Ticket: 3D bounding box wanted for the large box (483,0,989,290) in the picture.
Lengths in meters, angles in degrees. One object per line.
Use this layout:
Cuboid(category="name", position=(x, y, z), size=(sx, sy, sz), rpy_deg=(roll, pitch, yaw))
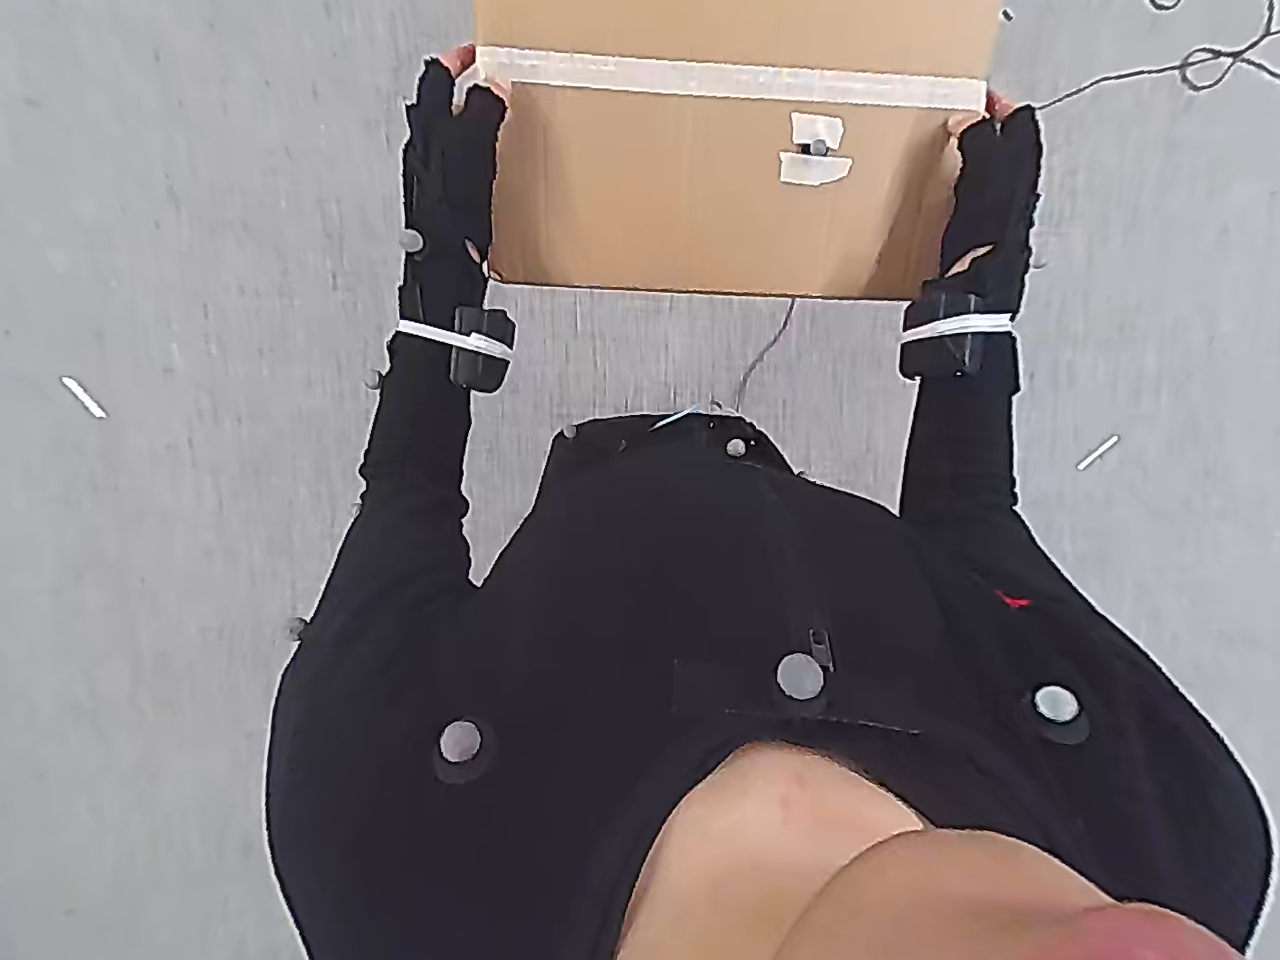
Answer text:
Cuboid(category="large box", position=(0.065, -0.373, 0.576), size=(0.408, 0.320, 0.320), rpy_deg=(1, 110, -5))
